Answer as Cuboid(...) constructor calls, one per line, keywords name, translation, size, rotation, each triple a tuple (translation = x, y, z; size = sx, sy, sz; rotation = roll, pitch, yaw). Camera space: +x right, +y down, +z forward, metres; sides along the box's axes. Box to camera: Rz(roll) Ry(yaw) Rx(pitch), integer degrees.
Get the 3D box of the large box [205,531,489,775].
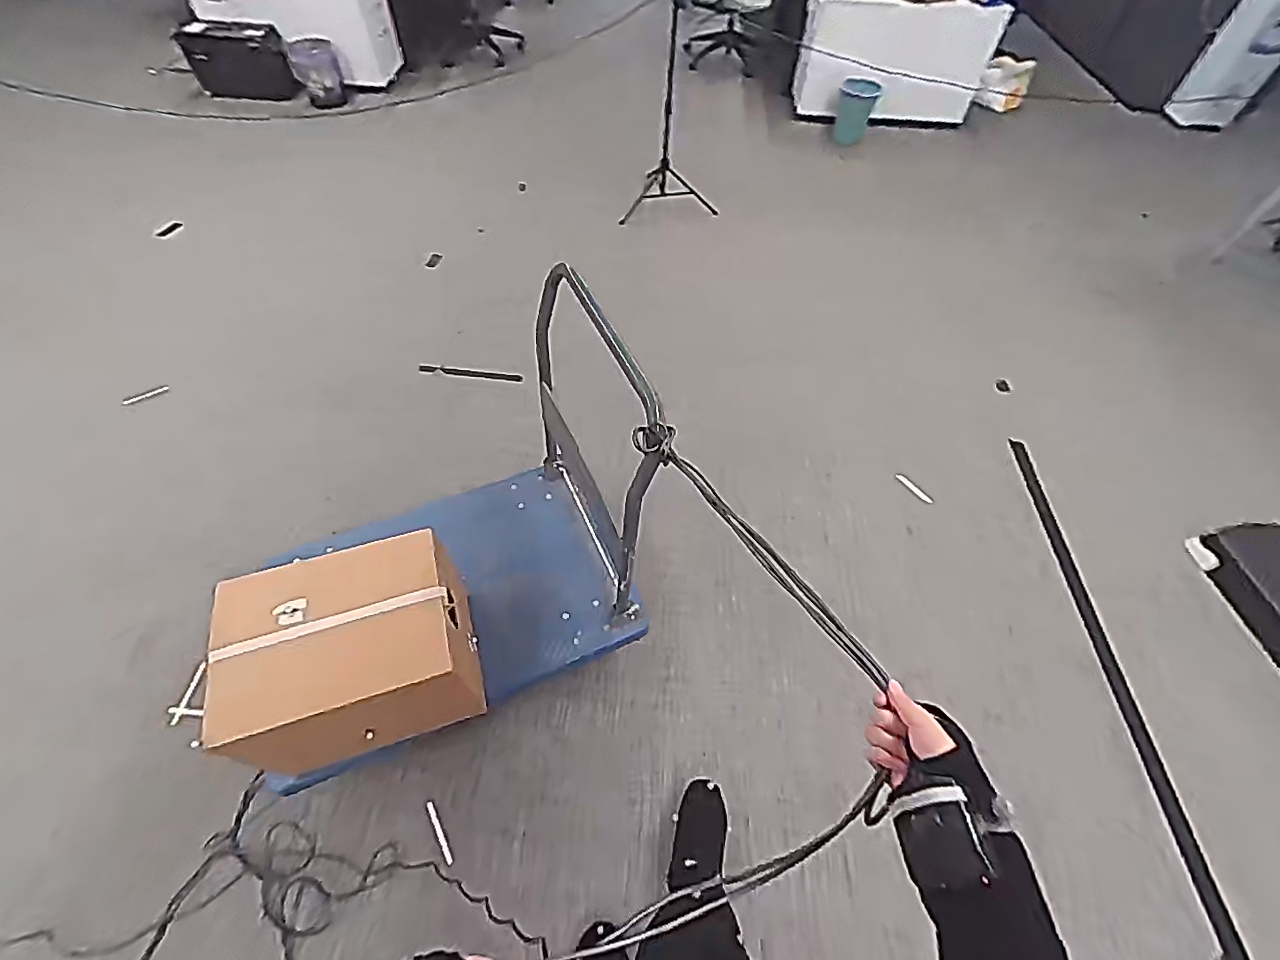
Cuboid(name="large box", translation=(-0.566, 0.358, 1.111), size=(0.408, 0.320, 0.320), rotation=(-15, 56, -12))
